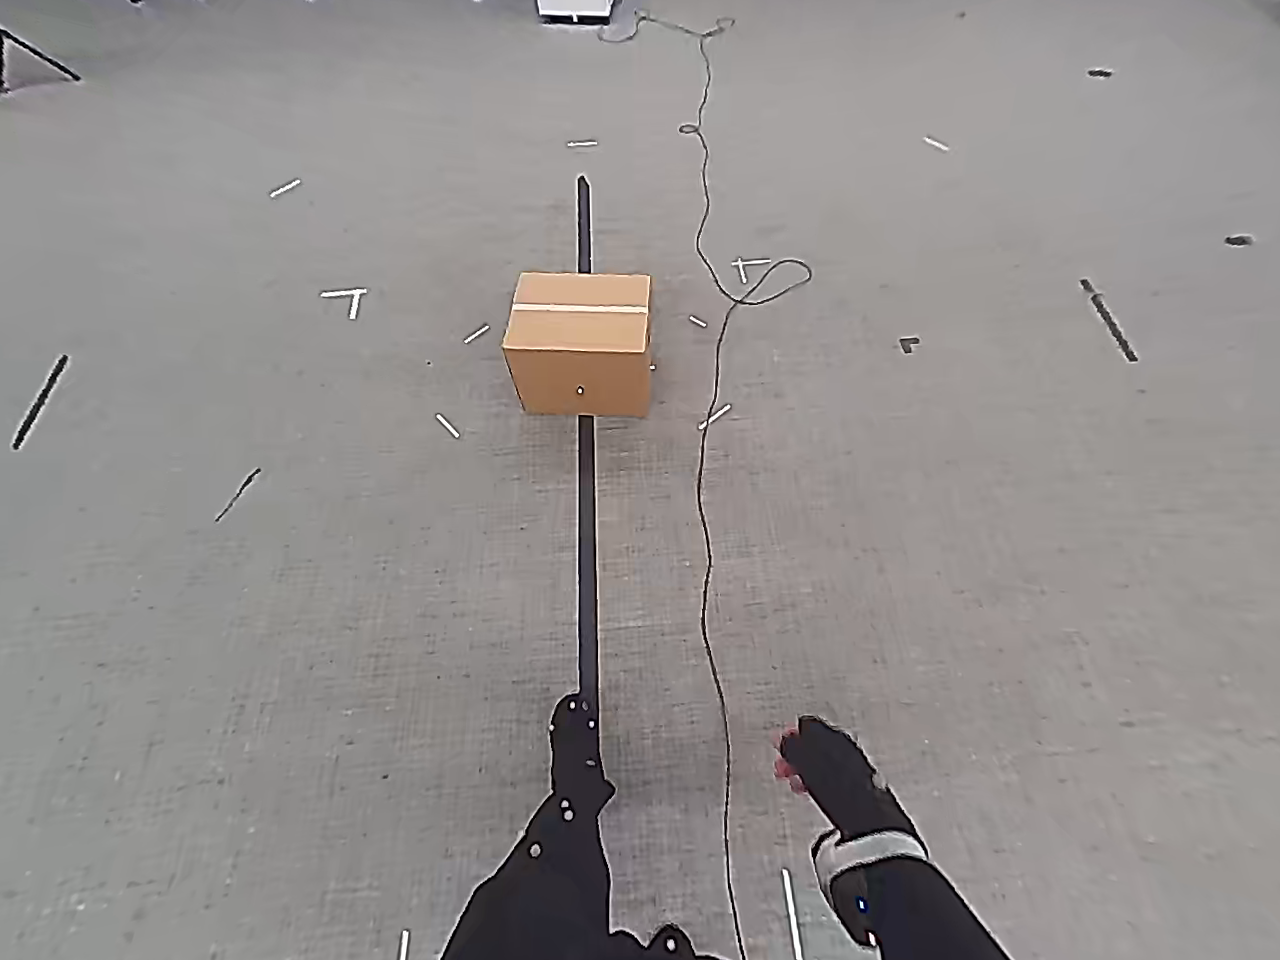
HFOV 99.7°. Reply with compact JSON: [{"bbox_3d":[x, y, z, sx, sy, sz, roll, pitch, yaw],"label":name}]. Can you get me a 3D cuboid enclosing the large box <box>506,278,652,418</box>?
[{"bbox_3d":[-0.169,-0.407,1.696,0.408,0.320,0.320,3,61,3],"label":"large box"}]
